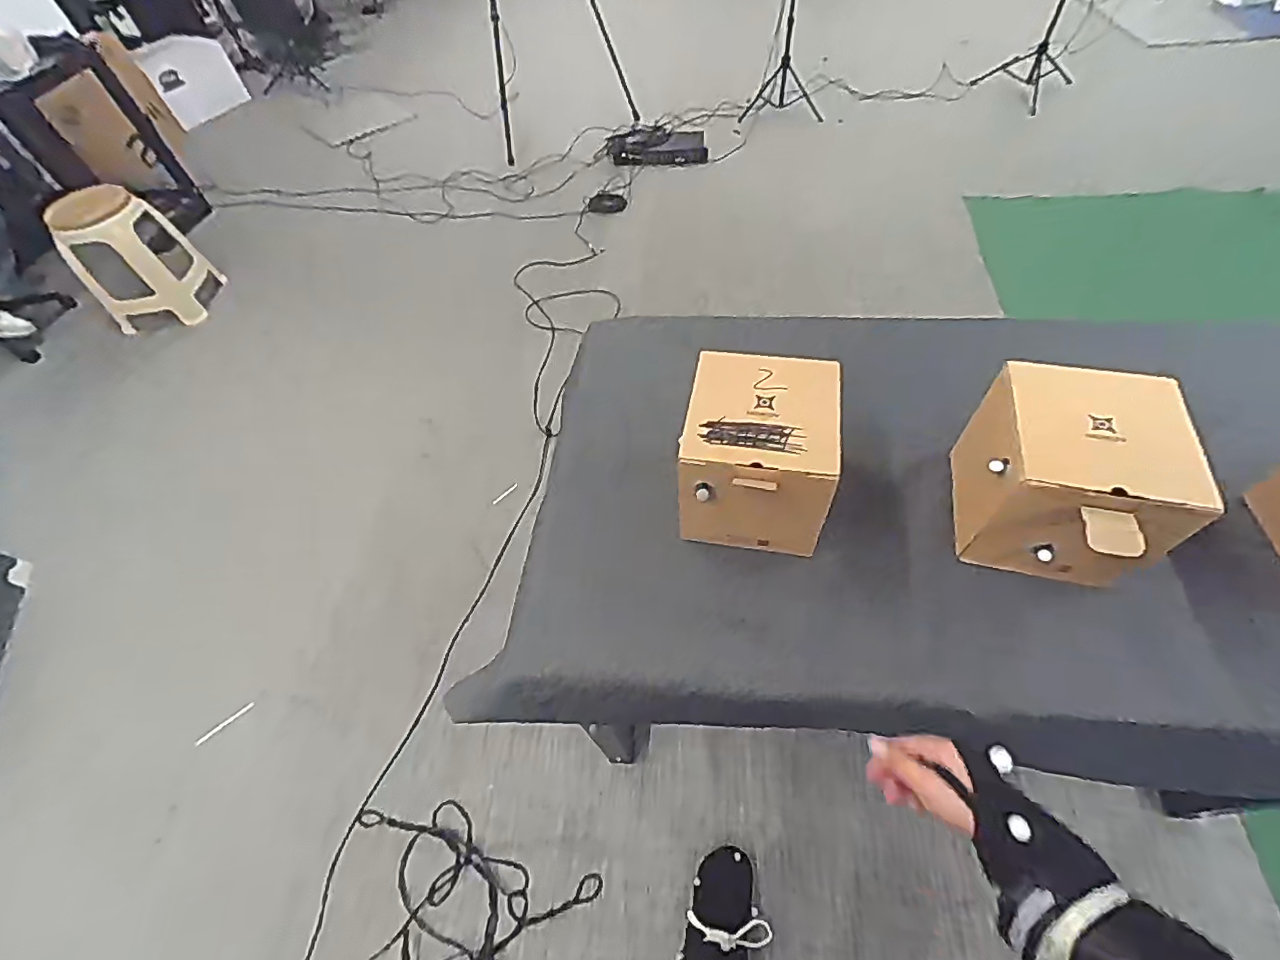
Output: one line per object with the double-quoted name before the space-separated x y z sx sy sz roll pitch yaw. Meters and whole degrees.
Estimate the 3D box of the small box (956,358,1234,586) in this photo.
"small box" 0.476 -0.007 0.607 0.168 0.176 0.179 10 56 12
